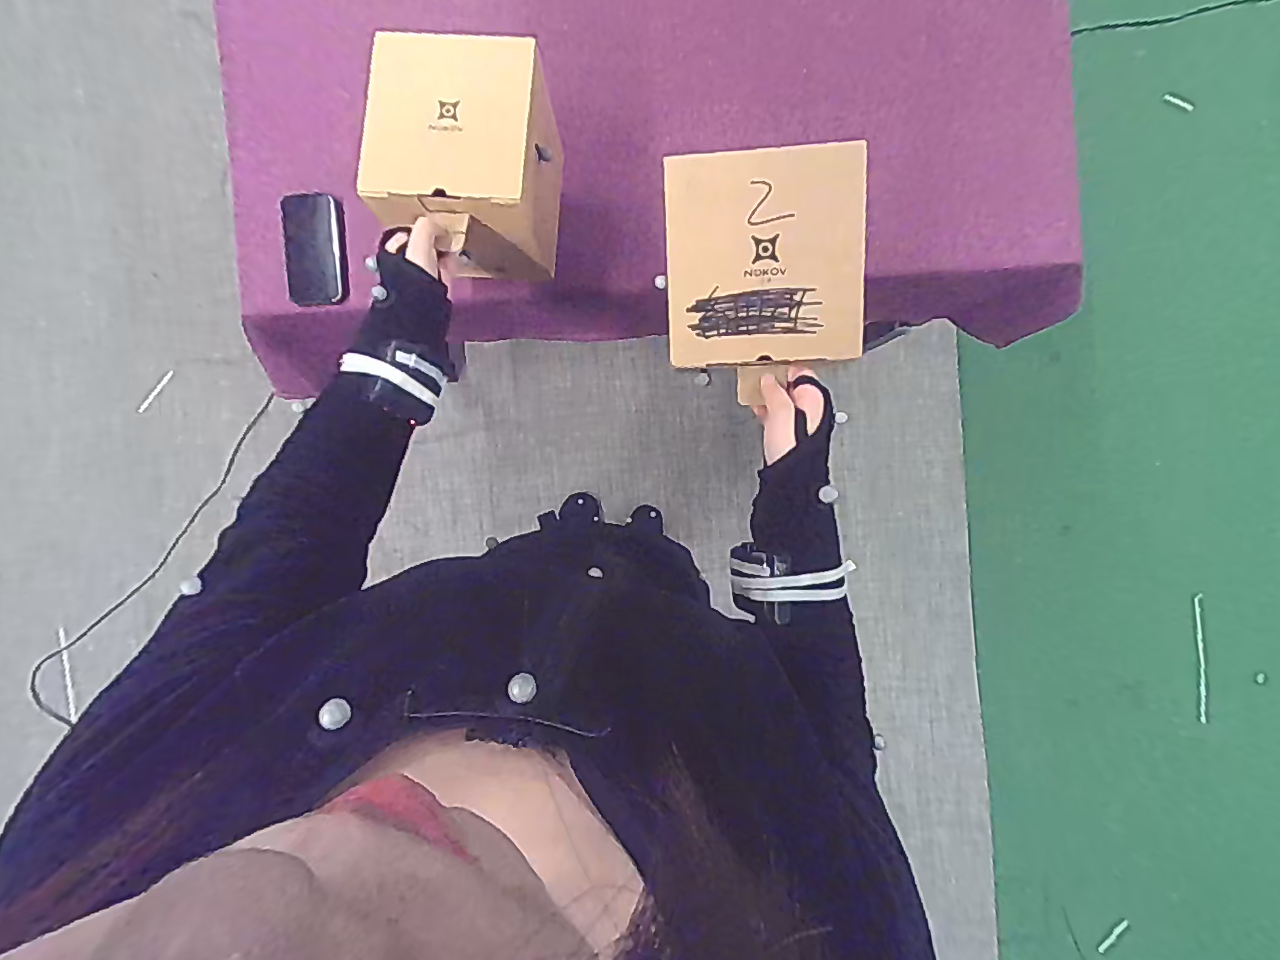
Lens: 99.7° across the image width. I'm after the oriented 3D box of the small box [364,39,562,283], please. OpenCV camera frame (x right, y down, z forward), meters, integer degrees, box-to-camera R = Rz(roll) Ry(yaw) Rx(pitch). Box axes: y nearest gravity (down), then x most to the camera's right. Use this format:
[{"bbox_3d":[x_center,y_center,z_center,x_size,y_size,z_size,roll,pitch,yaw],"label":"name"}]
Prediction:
[{"bbox_3d":[-0.188,-0.355,0.627,0.168,0.176,0.179,4,85,1],"label":"small box"}]
